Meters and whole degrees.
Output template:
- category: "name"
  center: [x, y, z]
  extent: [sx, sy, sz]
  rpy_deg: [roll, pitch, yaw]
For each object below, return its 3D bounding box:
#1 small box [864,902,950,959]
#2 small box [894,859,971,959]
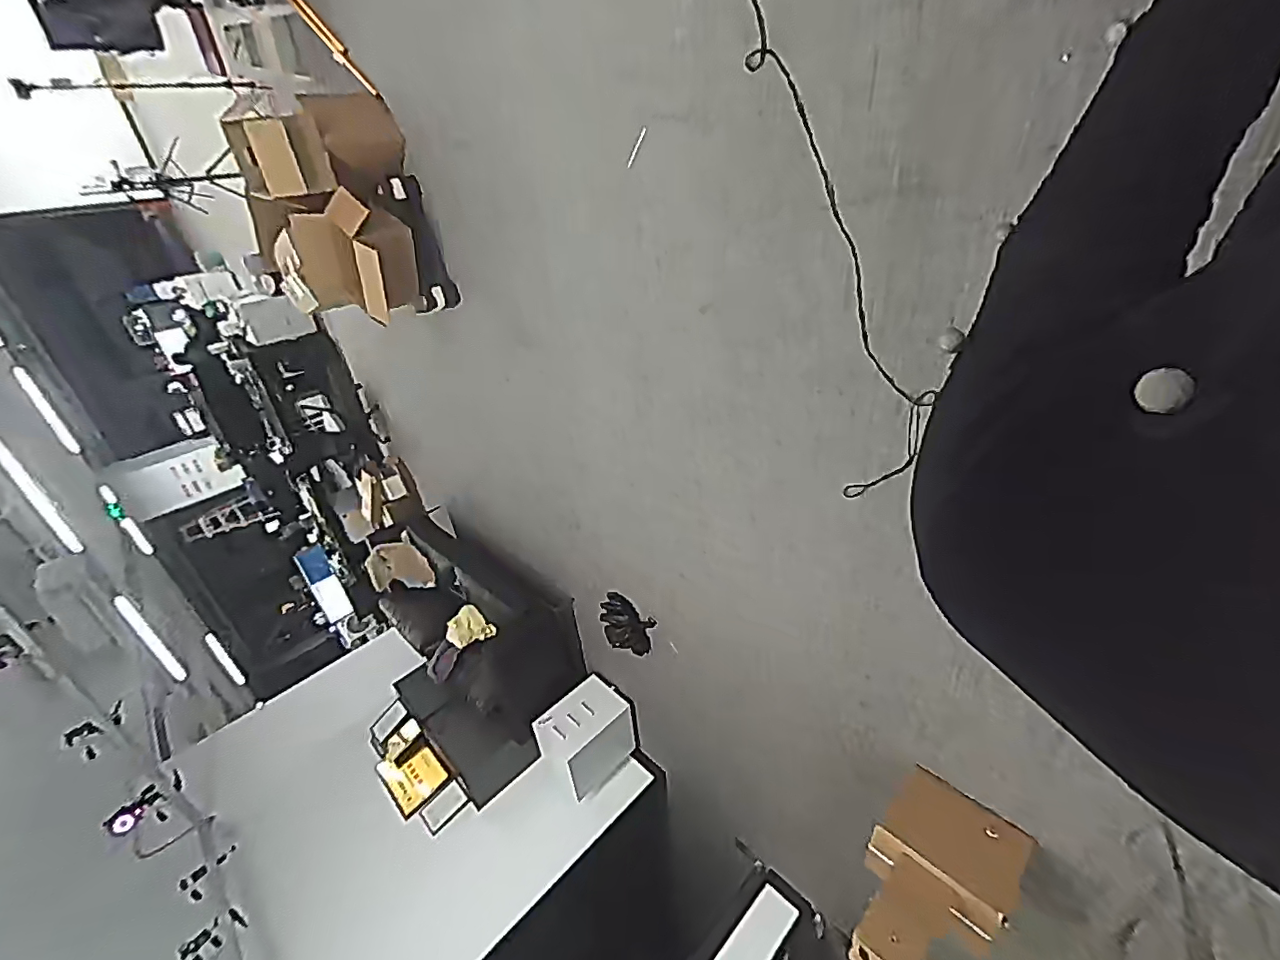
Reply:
- category: "small box"
  center: [0.826, 1.460, 1.674]
  extent: [0.179, 0.176, 0.168]
  rpy_deg: [23, 131, 41]
- category: "small box"
  center: [0.949, 1.398, 1.764]
  extent: [0.179, 0.176, 0.168]
  rpy_deg: [25, 132, 43]
